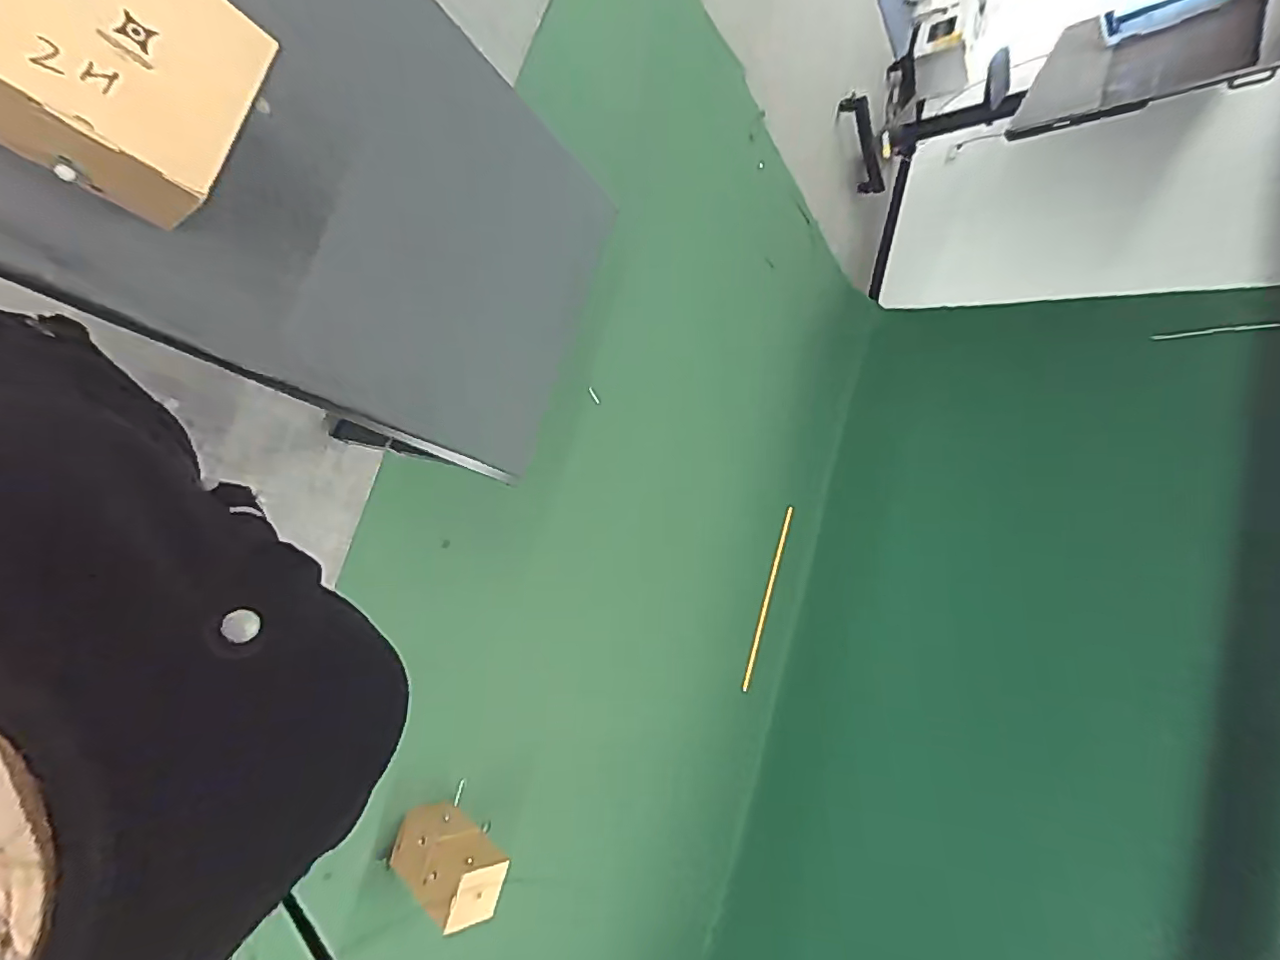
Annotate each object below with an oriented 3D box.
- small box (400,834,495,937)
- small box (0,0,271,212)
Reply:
[{"bbox_3d":[-0.571,1.190,1.605,0.179,0.176,0.168,29,76,-50],"label":"small box"},{"bbox_3d":[-0.476,-0.375,0.480,0.168,0.176,0.179,28,76,-49],"label":"small box"}]
